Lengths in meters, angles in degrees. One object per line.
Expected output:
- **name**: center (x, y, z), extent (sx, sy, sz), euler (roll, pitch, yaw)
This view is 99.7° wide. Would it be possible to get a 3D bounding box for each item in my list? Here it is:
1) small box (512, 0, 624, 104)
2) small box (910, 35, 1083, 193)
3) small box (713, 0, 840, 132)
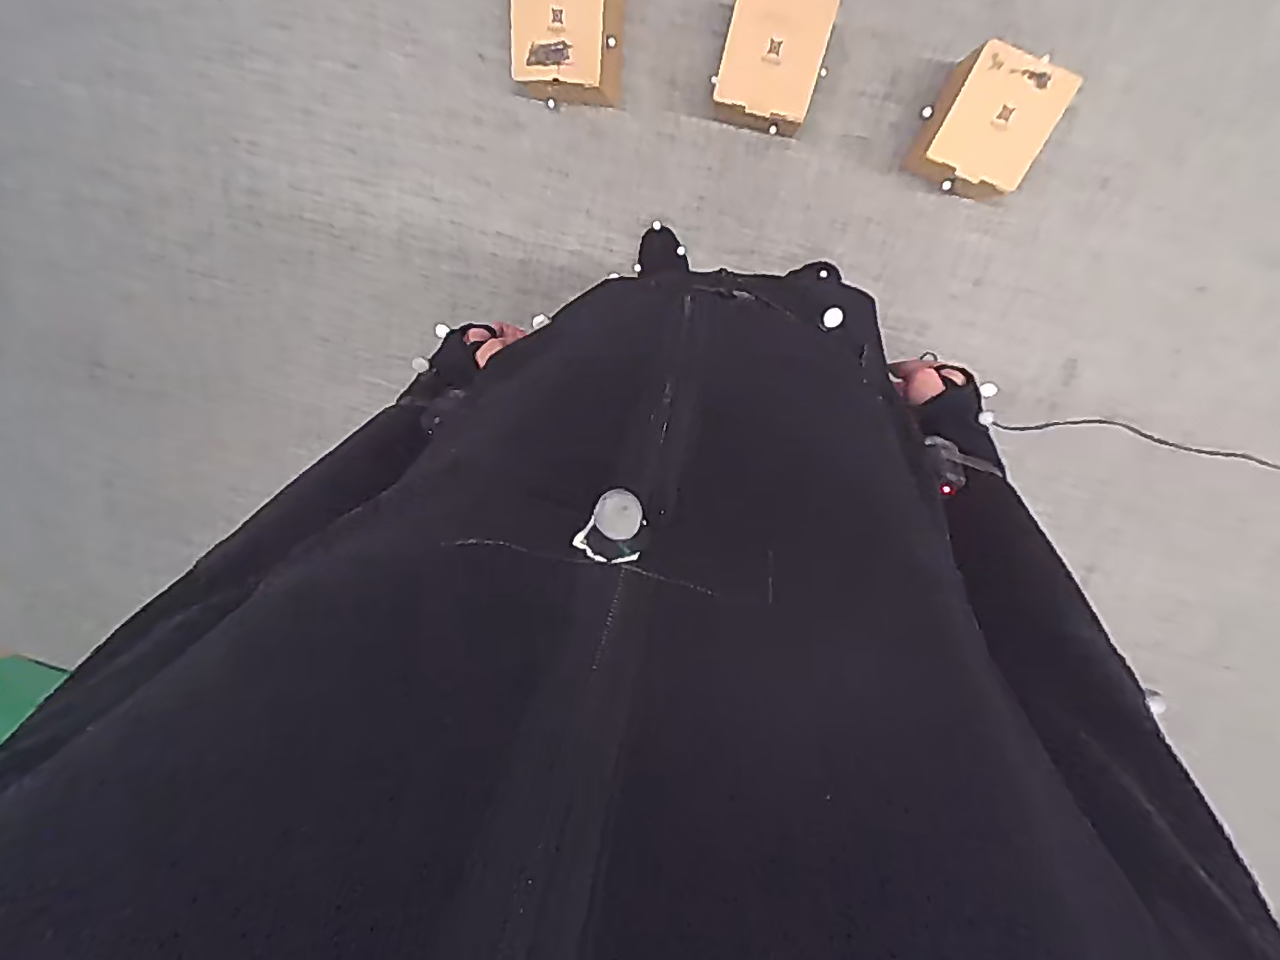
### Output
- **small box**: center (-0.128, -0.817, 0.998), extent (0.168, 0.176, 0.179), euler (8, 115, 6)
- **small box**: center (0.606, -0.627, 0.953), extent (0.168, 0.176, 0.179), euler (24, 117, 0)
- **small box**: center (0.235, -0.747, 0.968), extent (0.168, 0.176, 0.179), euler (14, 115, 2)
